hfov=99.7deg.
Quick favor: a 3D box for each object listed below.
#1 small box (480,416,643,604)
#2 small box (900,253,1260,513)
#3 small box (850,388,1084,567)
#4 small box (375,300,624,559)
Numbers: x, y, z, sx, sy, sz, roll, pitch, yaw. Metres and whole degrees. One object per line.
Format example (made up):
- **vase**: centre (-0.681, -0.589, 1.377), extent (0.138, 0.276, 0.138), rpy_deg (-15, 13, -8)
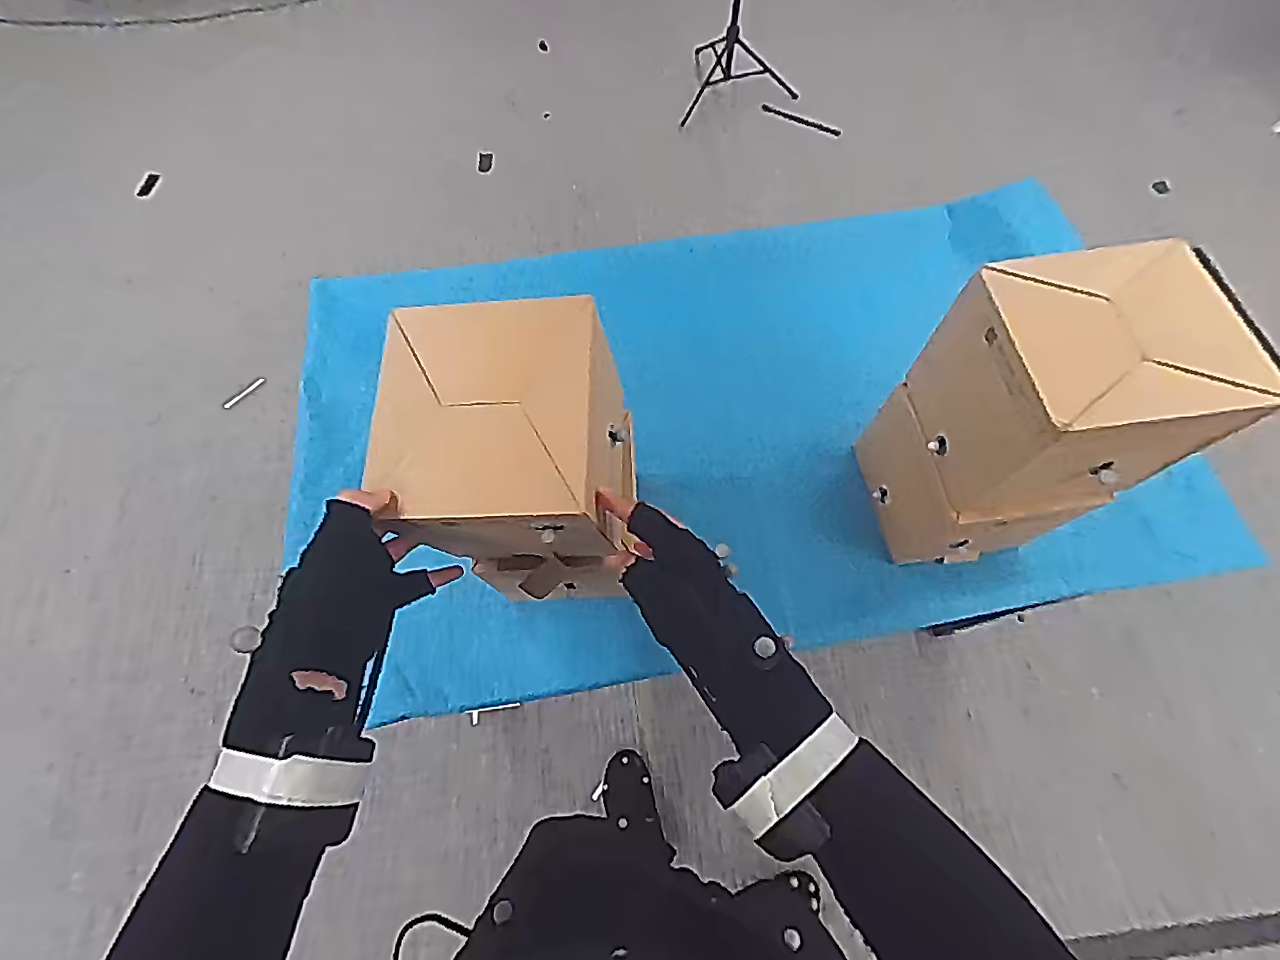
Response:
- **small box**: centre (-0.085, 0.041, 0.642), extent (0.168, 0.176, 0.179), rpy_deg (-3, 67, -1)
- **small box**: centre (0.382, -0.084, 0.505), extent (0.179, 0.176, 0.168), rpy_deg (-8, 65, 1)
- **small box**: centre (0.382, -0.012, 0.652), extent (0.168, 0.176, 0.179), rpy_deg (-8, 66, -2)
- **small box**: centre (-0.108, -0.030, 0.478), extent (0.168, 0.176, 0.179), rpy_deg (-2, 74, 7)
